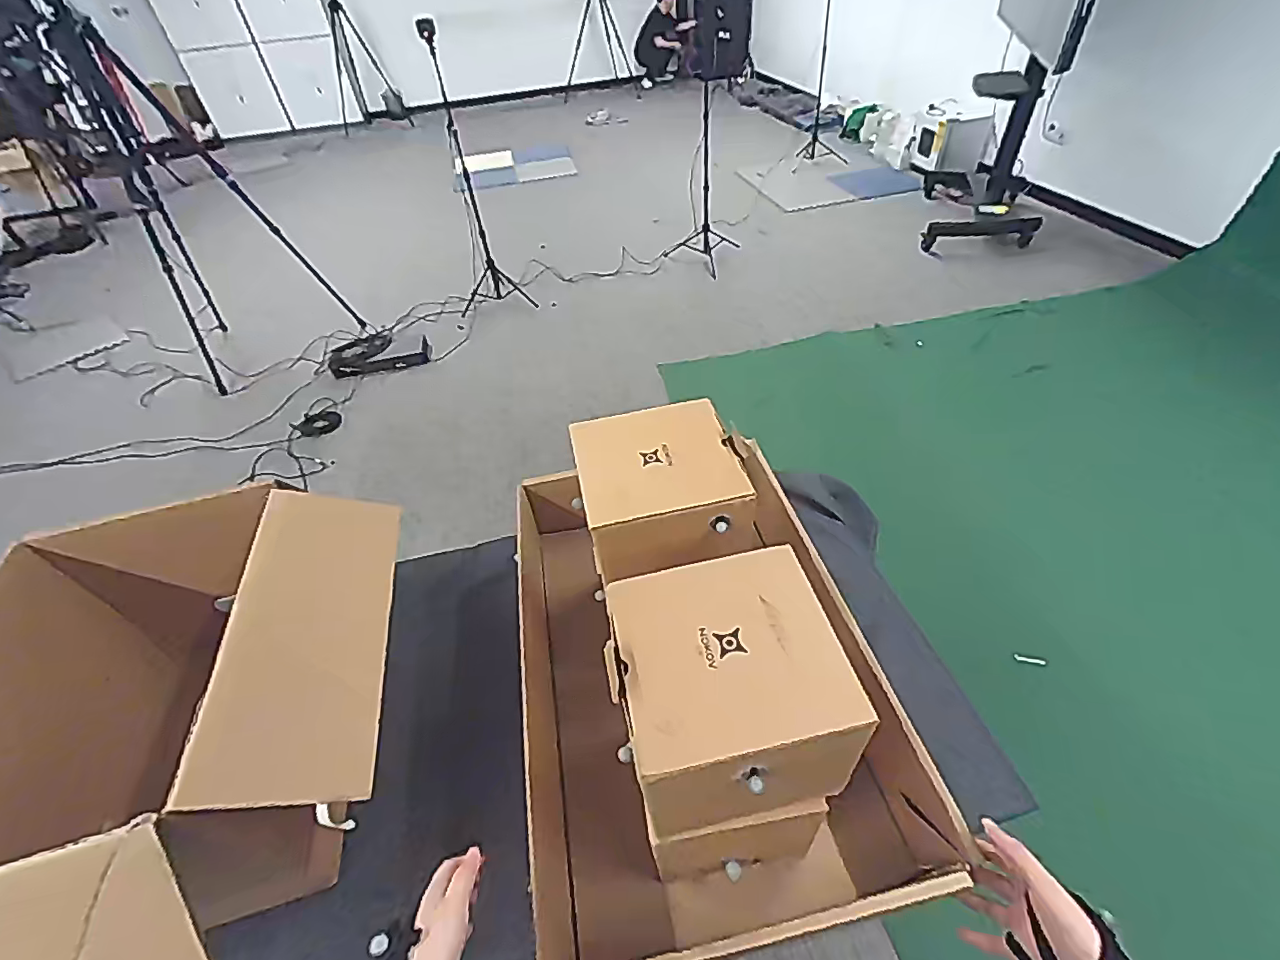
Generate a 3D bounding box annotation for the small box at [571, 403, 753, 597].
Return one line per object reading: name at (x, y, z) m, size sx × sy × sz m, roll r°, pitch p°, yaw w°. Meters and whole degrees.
small box at (0.024, 0.036, 0.653) m, size 0.179 × 0.176 × 0.168 m, roll -12°, pitch 47°, yaw -5°

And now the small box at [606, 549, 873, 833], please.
small box at (0.077, 0.192, 0.488) m, size 0.179 × 0.176 × 0.168 m, roll -12°, pitch 45°, yaw -5°
